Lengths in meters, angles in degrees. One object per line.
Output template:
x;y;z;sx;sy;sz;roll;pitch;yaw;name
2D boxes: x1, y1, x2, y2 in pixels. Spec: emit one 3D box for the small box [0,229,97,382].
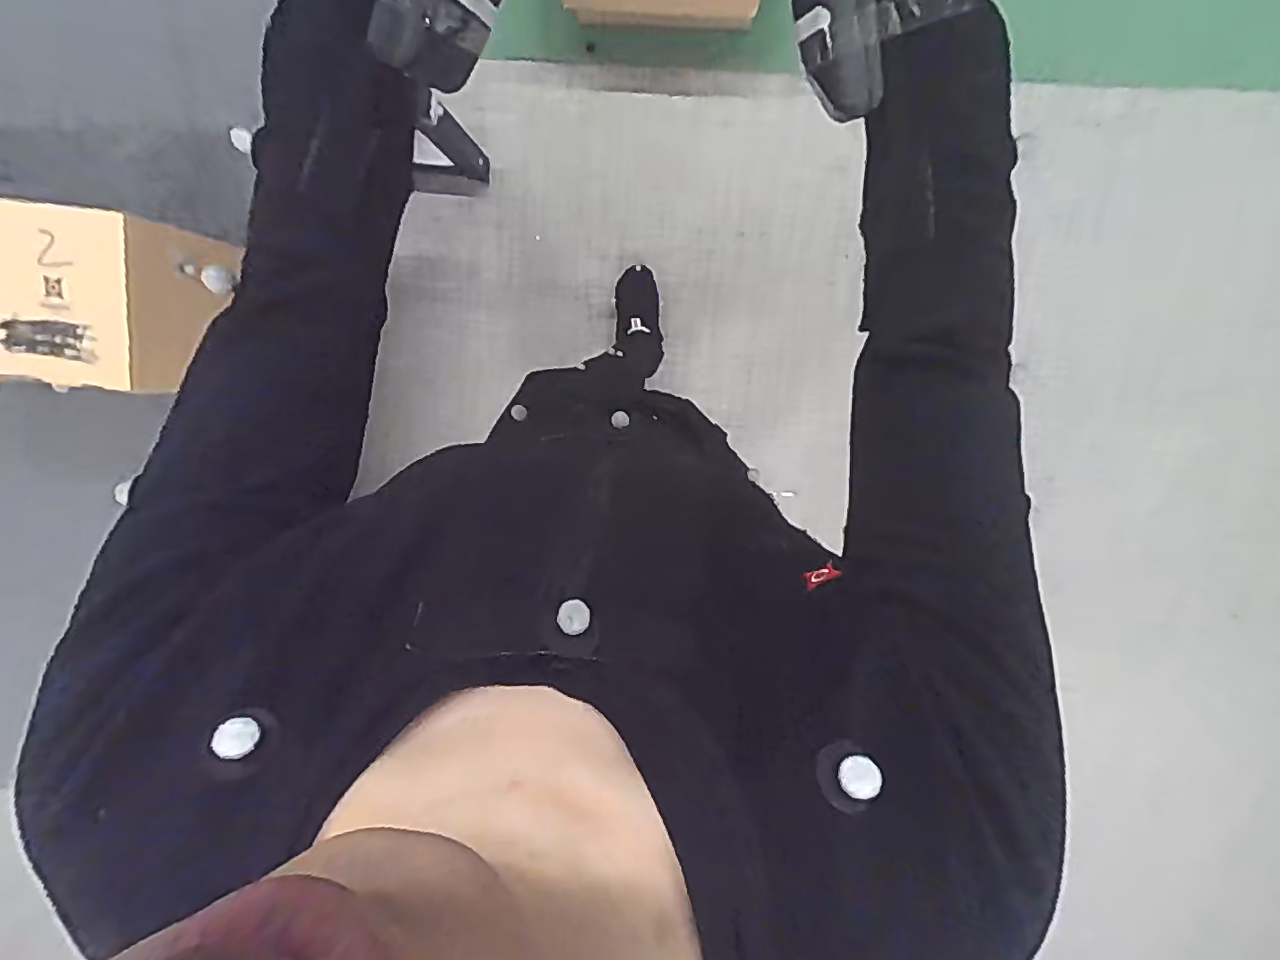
-0.807;-0.207;0.634;0.168;0.176;0.179;2;102;3;small box
